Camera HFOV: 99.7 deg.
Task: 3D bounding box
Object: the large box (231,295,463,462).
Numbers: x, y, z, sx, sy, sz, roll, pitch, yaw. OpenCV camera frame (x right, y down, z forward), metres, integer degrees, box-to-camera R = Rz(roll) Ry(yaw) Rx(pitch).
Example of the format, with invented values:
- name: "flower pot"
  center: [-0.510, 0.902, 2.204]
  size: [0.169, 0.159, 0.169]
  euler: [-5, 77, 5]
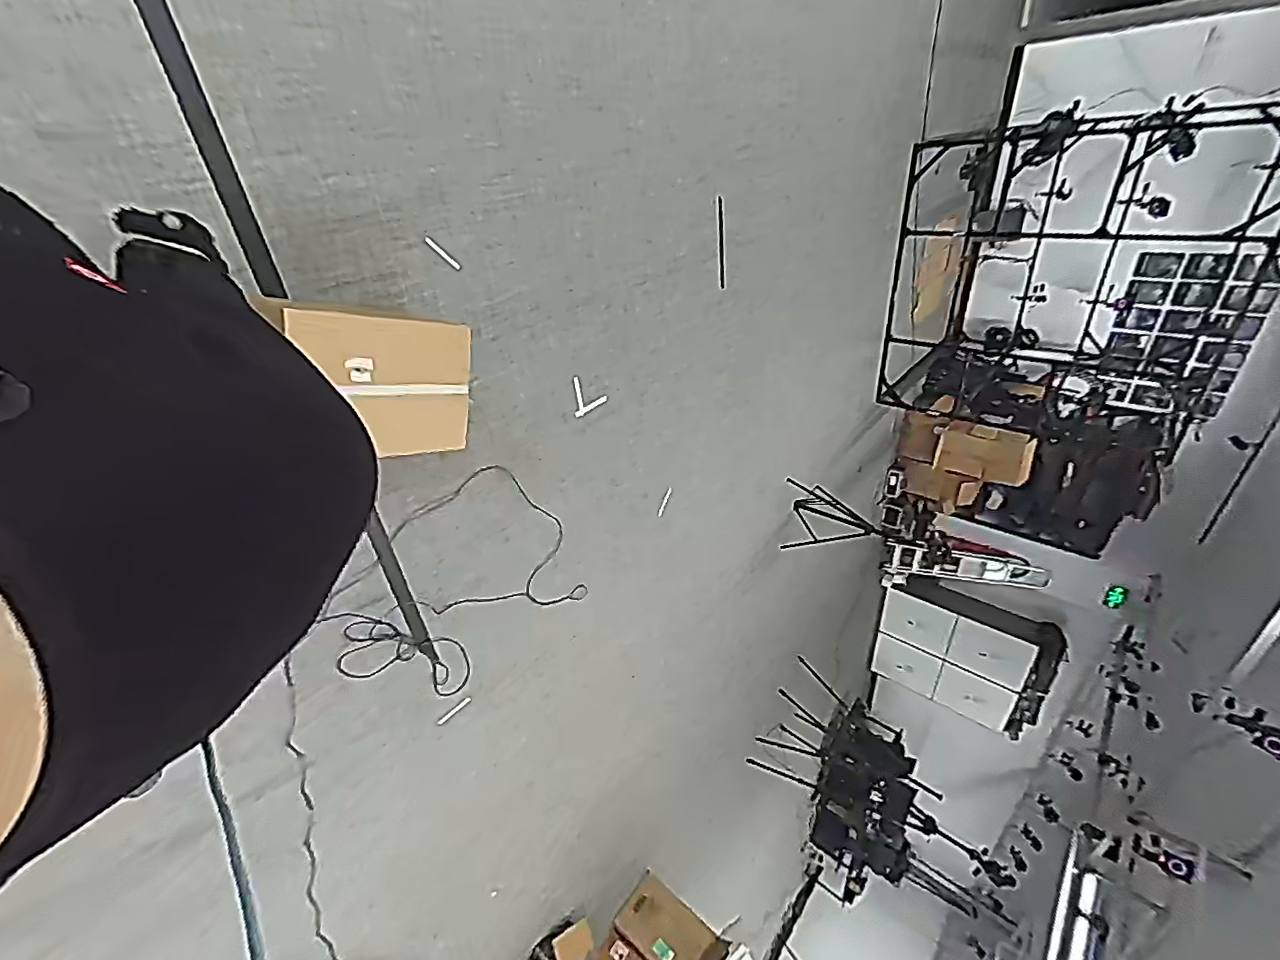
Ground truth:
- name: "large box"
  center: [-0.687, -0.253, 1.298]
  size: [0.408, 0.320, 0.320]
  euler: [-12, 115, -49]
